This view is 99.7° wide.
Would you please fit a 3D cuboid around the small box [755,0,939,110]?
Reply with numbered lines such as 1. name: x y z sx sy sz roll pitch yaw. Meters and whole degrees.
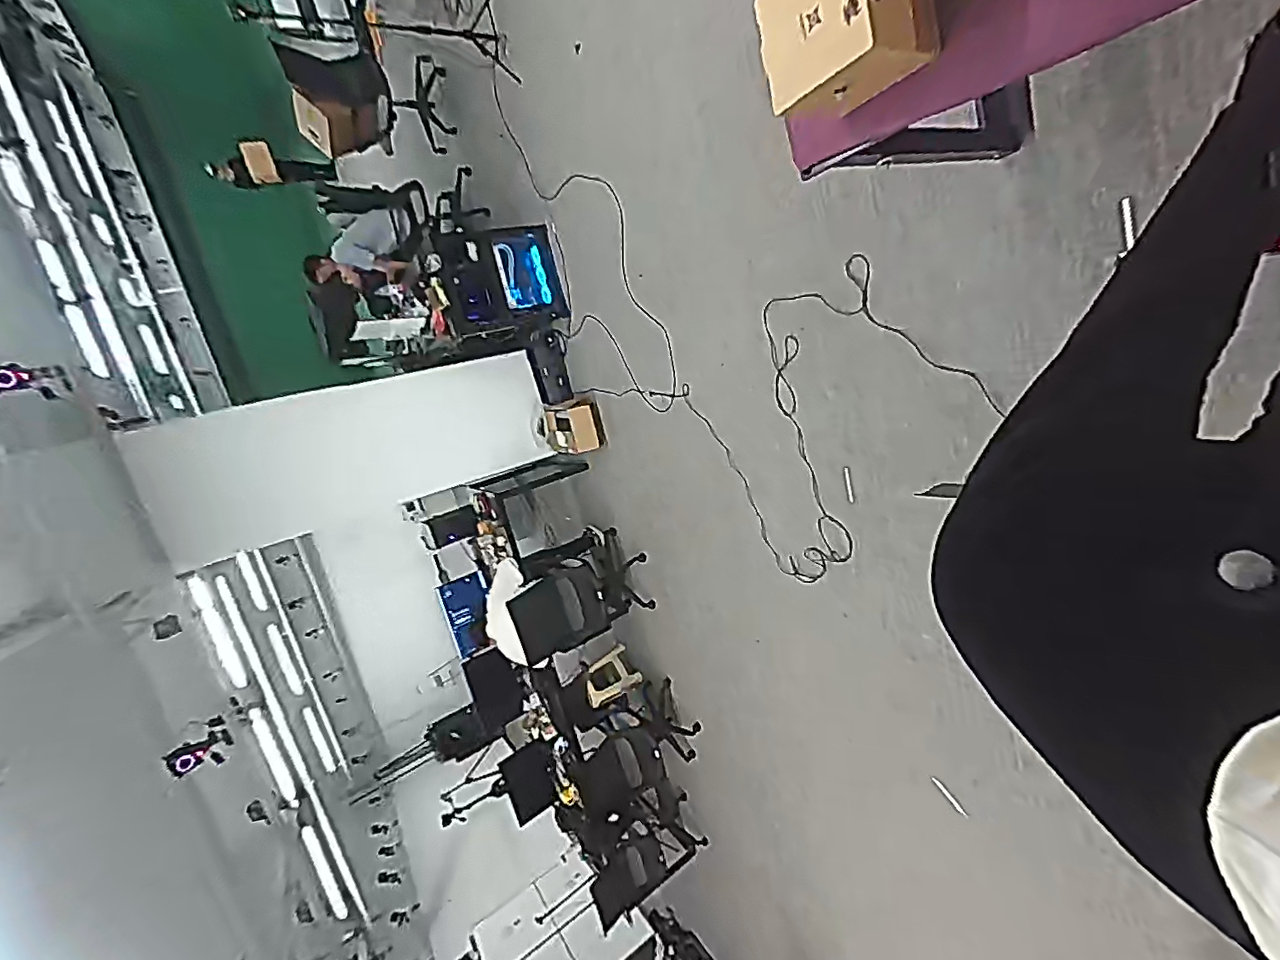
1. small box: 0.303 -0.675 0.797 0.179 0.176 0.168 5 113 59
